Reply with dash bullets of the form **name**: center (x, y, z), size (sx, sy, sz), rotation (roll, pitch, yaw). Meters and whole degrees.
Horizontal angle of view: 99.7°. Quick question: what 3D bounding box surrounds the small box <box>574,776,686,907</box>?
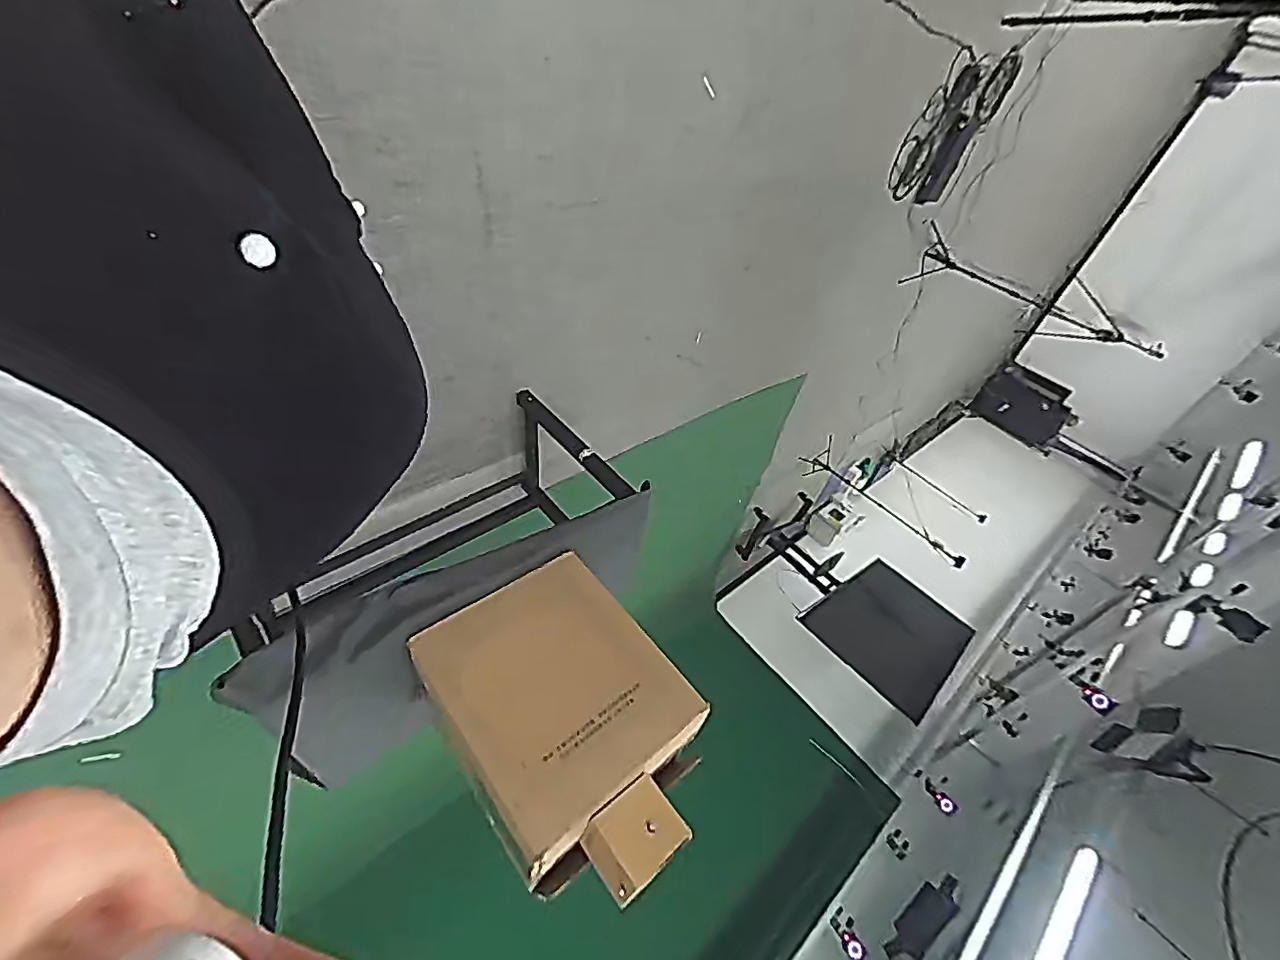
- **small box**: center (-0.027, 0.841, 1.272), size (0.179, 0.176, 0.168), rotation (-23, 143, -39)
